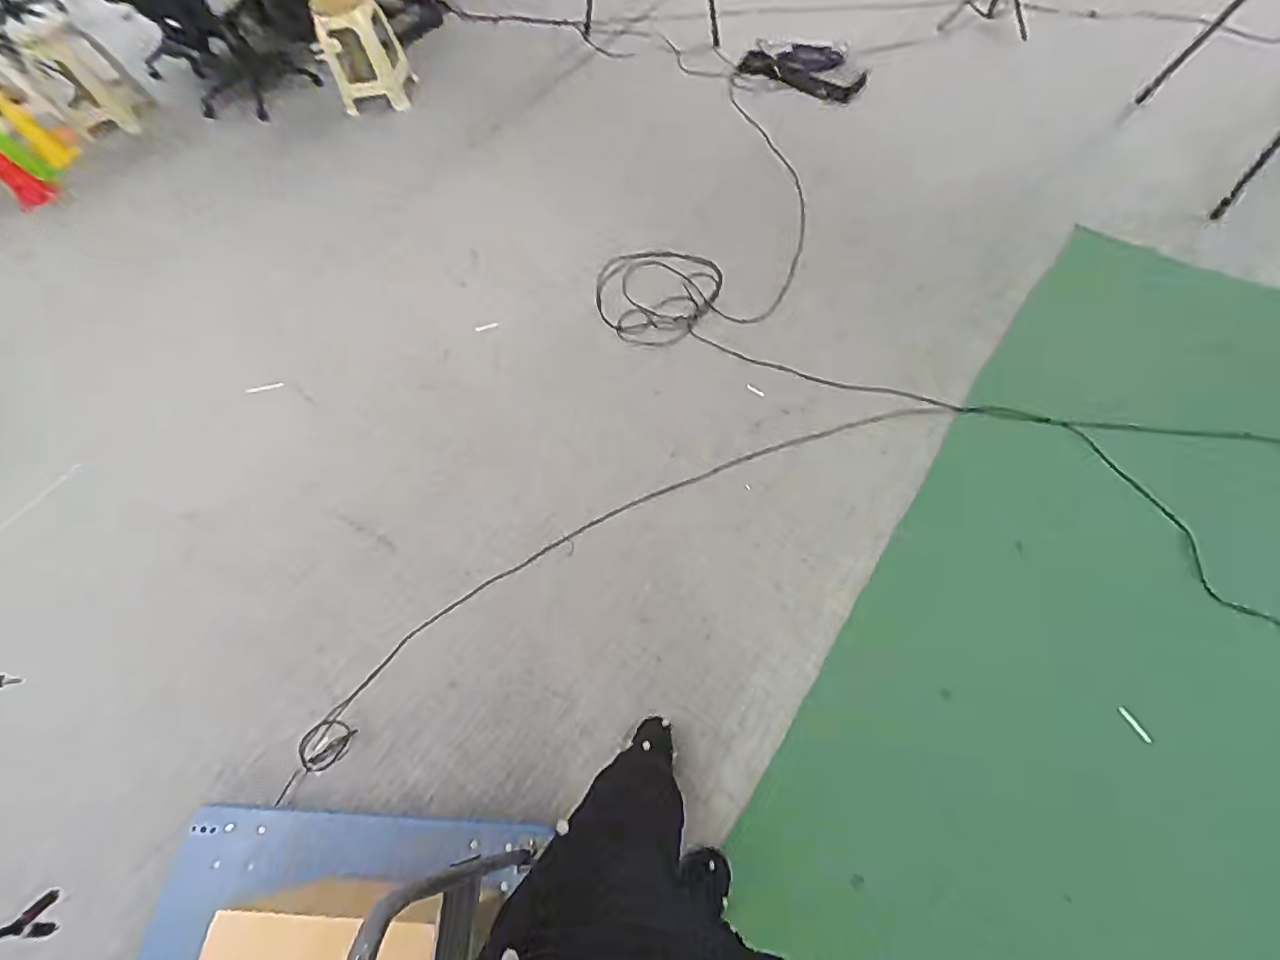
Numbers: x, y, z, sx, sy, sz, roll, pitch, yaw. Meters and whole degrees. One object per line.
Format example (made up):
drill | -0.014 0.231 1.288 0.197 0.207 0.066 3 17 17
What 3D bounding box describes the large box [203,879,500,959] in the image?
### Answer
large box | -0.502 0.923 0.951 0.408 0.320 0.320 -1 61 6
